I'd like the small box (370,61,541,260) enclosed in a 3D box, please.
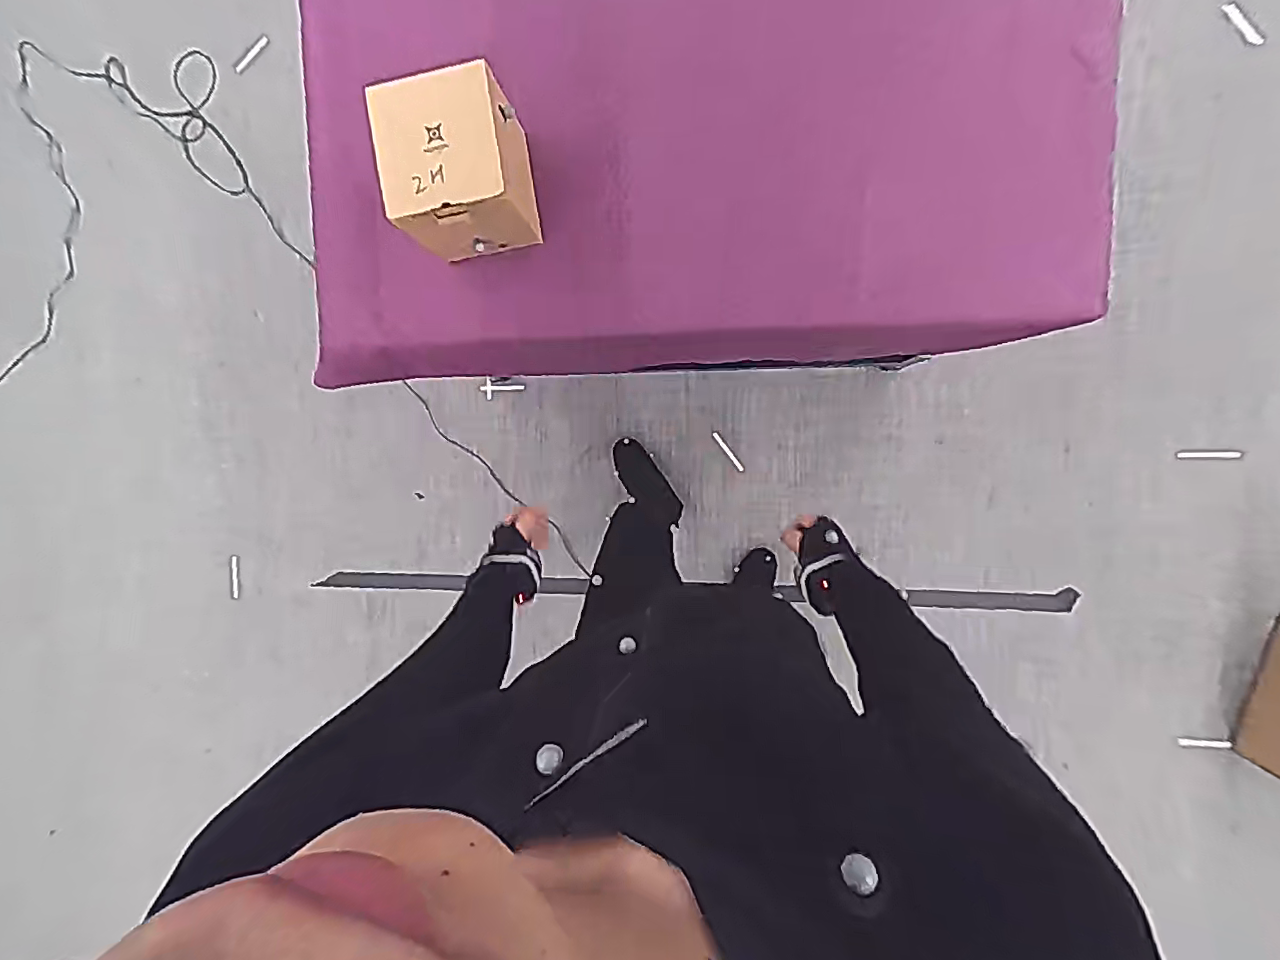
[{"bbox_3d":[-0.254,-0.445,0.782,0.168,0.176,0.179,-8,93,7],"label":"small box"}]
